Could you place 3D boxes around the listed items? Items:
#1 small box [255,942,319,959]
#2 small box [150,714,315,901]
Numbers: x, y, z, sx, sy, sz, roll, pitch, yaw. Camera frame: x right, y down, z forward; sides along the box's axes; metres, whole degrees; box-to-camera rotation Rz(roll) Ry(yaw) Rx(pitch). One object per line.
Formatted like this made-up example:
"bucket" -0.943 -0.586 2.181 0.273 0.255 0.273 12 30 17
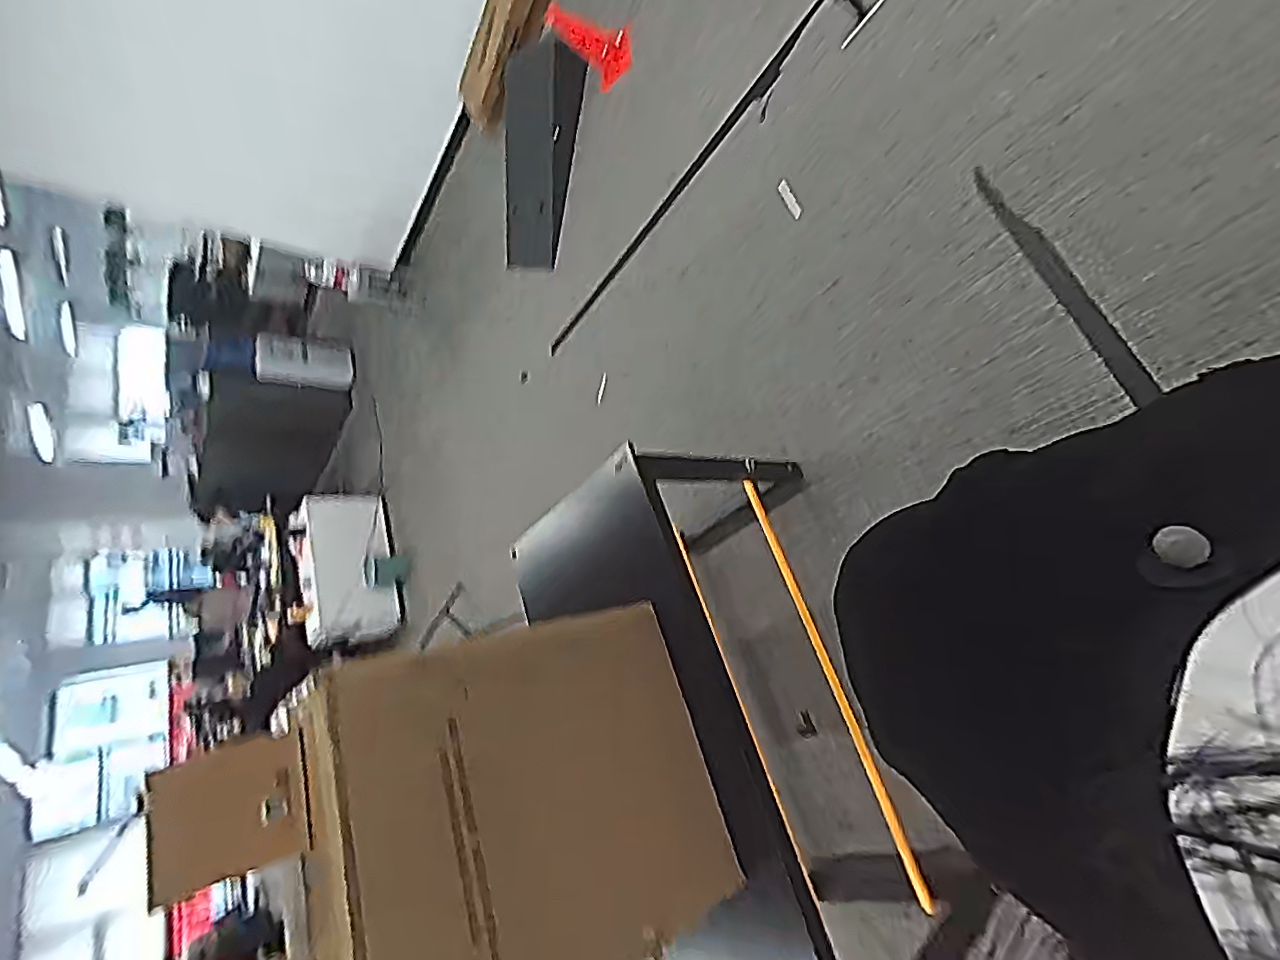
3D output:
"small box" -0.504 0.724 0.680 0.179 0.176 0.168 -39 61 40
"small box" -0.570 0.447 0.757 0.179 0.176 0.168 -36 66 41
